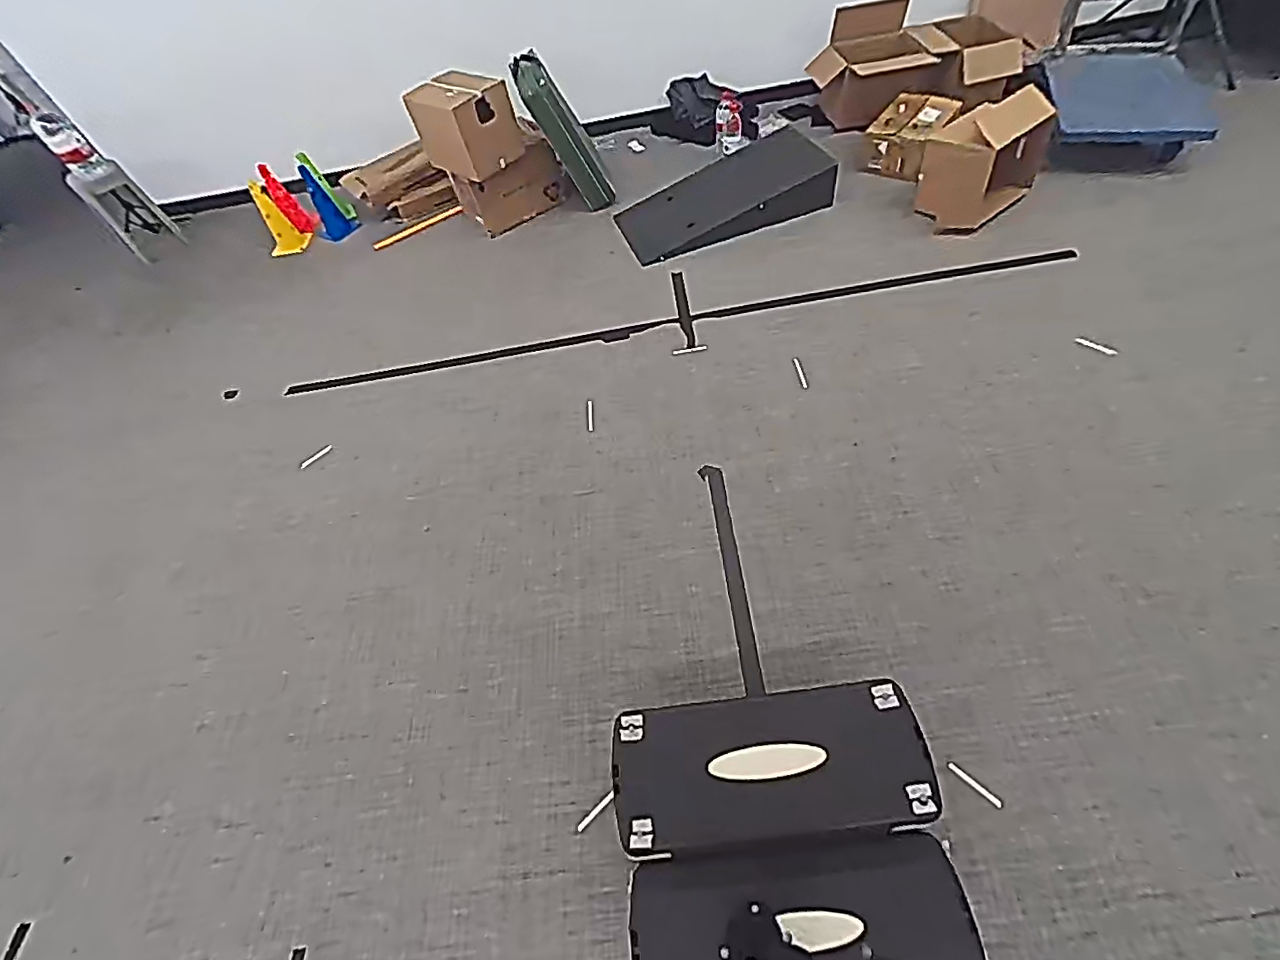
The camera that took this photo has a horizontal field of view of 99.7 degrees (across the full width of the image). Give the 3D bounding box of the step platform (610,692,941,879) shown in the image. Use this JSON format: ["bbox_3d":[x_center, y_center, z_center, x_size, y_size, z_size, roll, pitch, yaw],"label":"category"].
[{"bbox_3d":[0.273,0.672,1.200,0.684,0.204,0.286,-9,55,2],"label":"step platform"}]
